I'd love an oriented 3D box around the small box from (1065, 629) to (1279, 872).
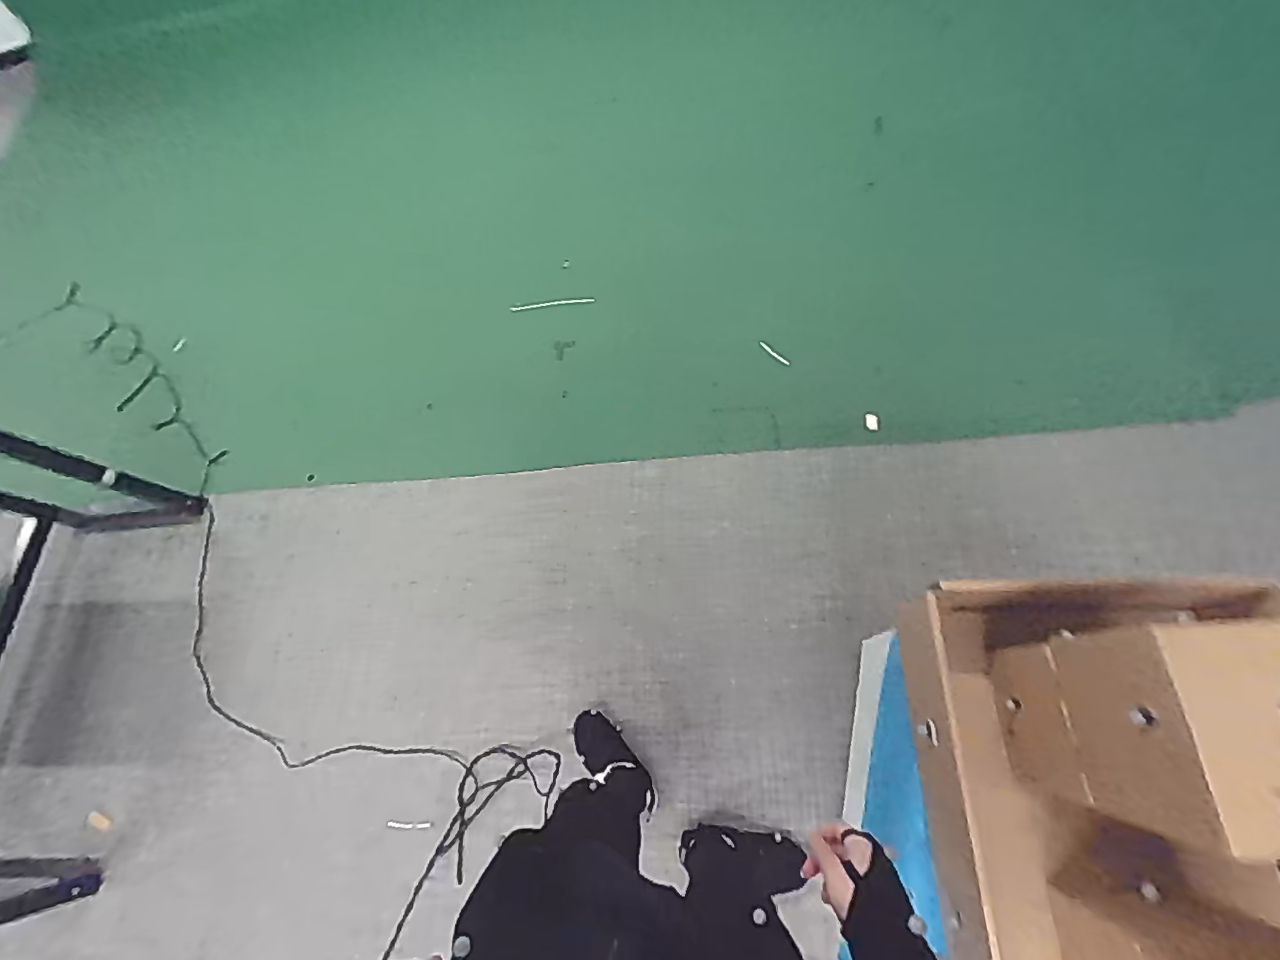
[{"bbox_3d":[0.541,0.236,0.498,0.168,0.176,0.179,-4,69,9],"label":"small box"}]
